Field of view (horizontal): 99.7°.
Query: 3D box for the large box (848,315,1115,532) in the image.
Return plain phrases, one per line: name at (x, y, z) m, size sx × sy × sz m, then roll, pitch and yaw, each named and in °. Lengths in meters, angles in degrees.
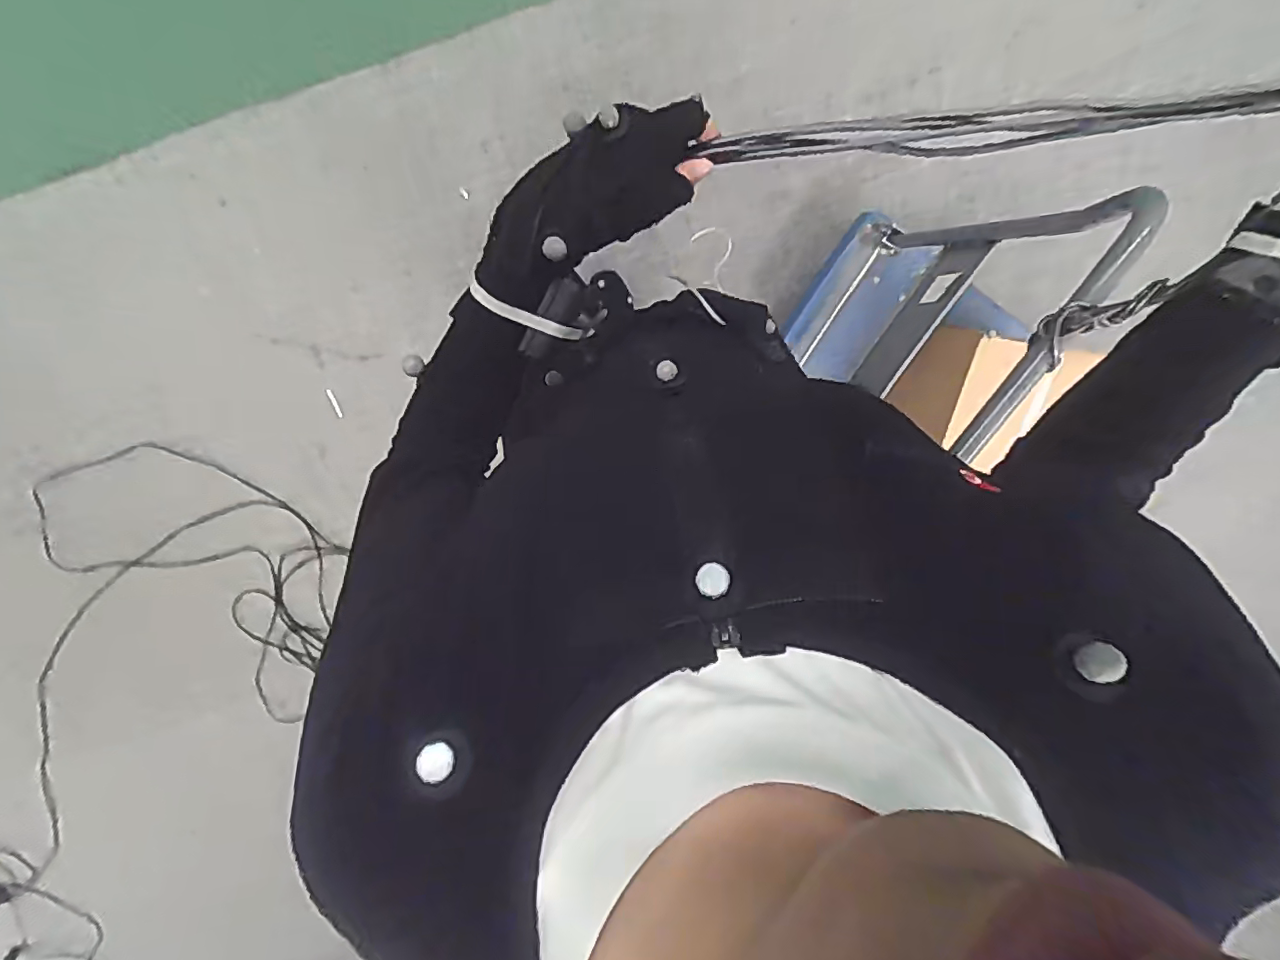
large box at (0.722, -0.136, 1.219) m, size 0.320 × 0.320 × 0.408 m, roll 6°, pitch 110°, yaw -9°
